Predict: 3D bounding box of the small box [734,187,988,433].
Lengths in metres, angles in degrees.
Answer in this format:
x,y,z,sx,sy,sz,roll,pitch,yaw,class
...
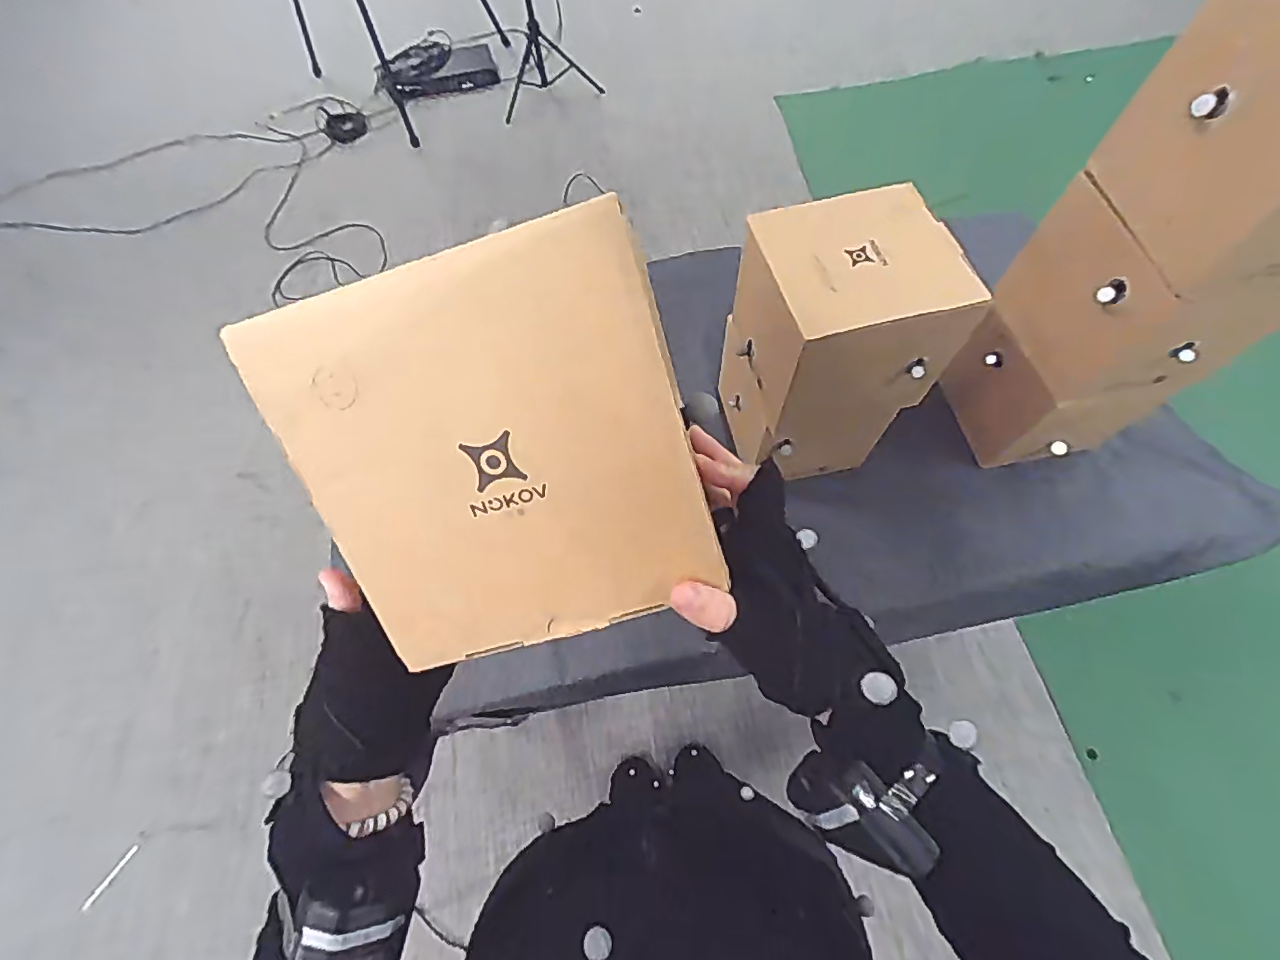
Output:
x,y,z,sx,sy,sz,roll,pitch,yaw,class
0.213,-0.172,0.580,0.179,0.176,0.168,-13,64,-3,small box

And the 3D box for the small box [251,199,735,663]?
x,y,z,sx,sy,sz,roll,pitch,yaw,class
-0.056,-0.034,0.311,0.168,0.179,0.176,-16,20,6,small box

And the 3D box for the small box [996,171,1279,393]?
x,y,z,sx,sy,sz,roll,pitch,yaw,class
0.532,-0.208,0.577,0.168,0.176,0.179,-9,64,-1,small box
